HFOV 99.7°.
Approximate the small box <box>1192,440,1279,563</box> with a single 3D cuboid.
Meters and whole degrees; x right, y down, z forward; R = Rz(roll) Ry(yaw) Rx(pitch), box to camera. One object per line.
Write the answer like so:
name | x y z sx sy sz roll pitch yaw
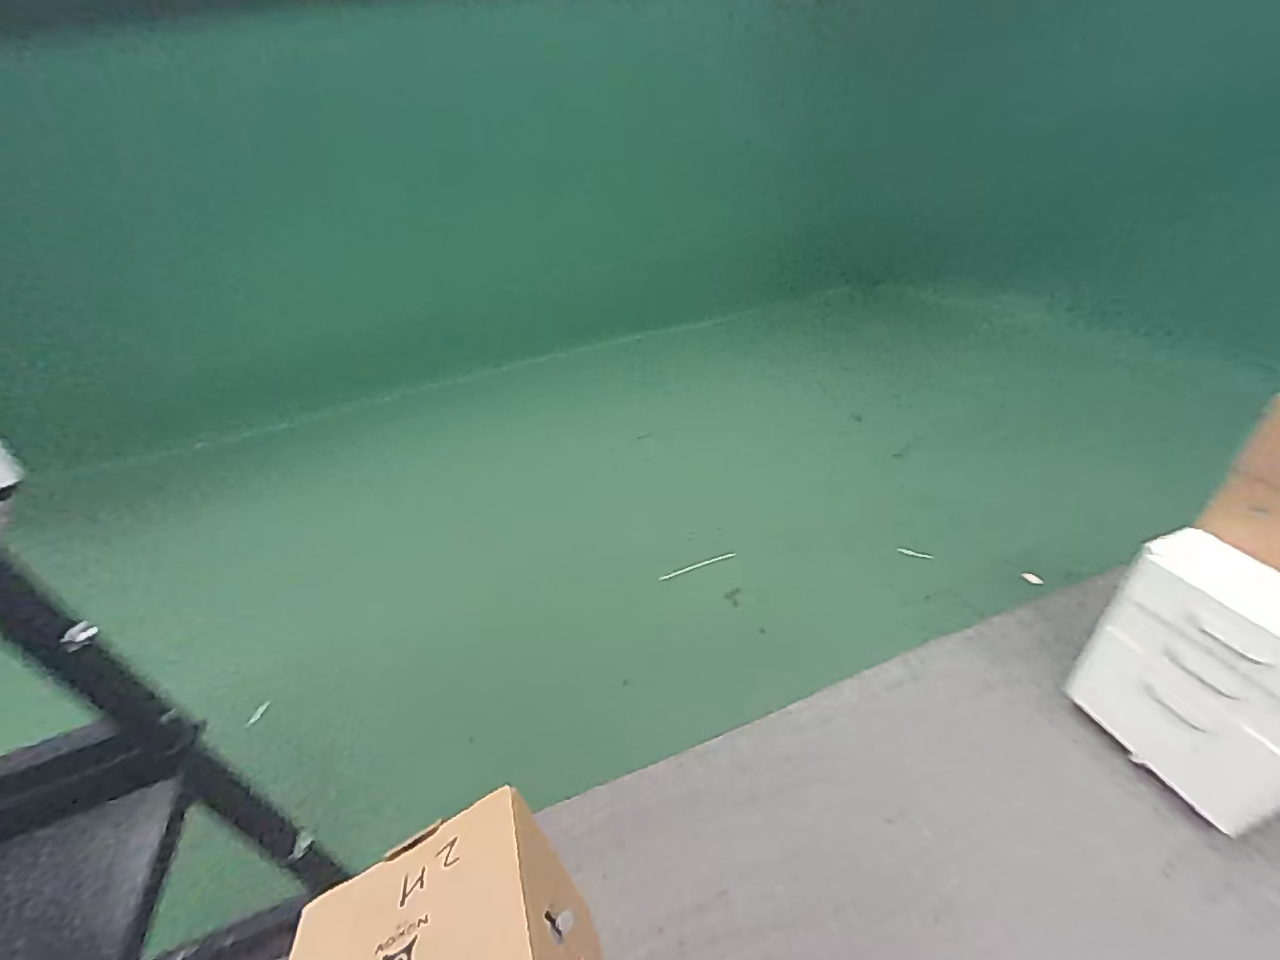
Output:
small box | 1.326 0.045 1.120 0.168 0.176 0.179 -17 37 -11
